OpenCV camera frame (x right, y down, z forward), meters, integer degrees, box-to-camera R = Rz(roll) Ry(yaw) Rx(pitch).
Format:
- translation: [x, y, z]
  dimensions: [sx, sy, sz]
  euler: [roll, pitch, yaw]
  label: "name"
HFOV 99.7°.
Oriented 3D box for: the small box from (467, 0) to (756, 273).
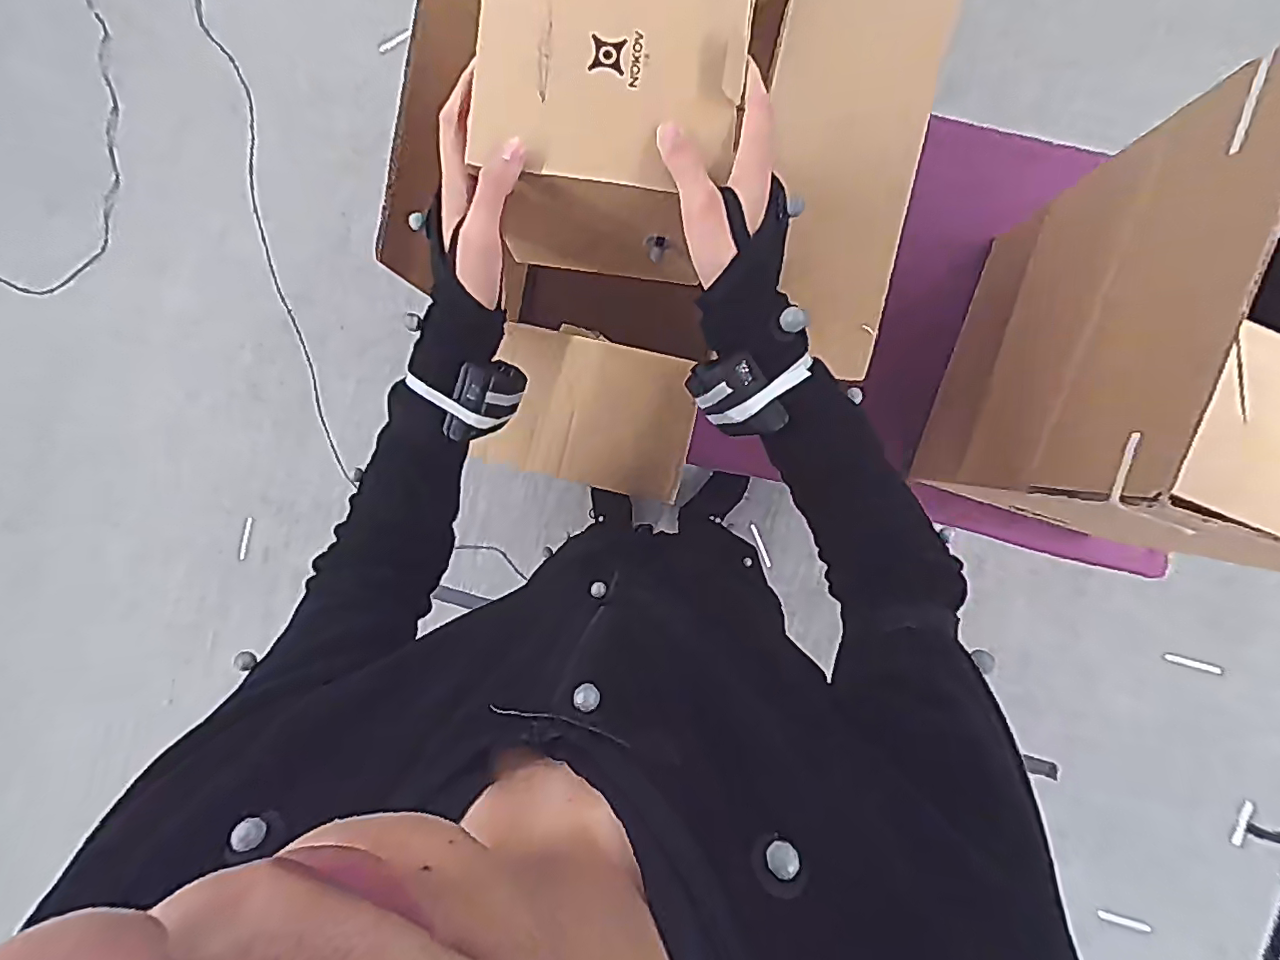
- translation: [-0.019, -0.281, 0.431]
  dimensions: [0.179, 0.176, 0.168]
  euler: [7, 90, -1]
  label: "small box"
